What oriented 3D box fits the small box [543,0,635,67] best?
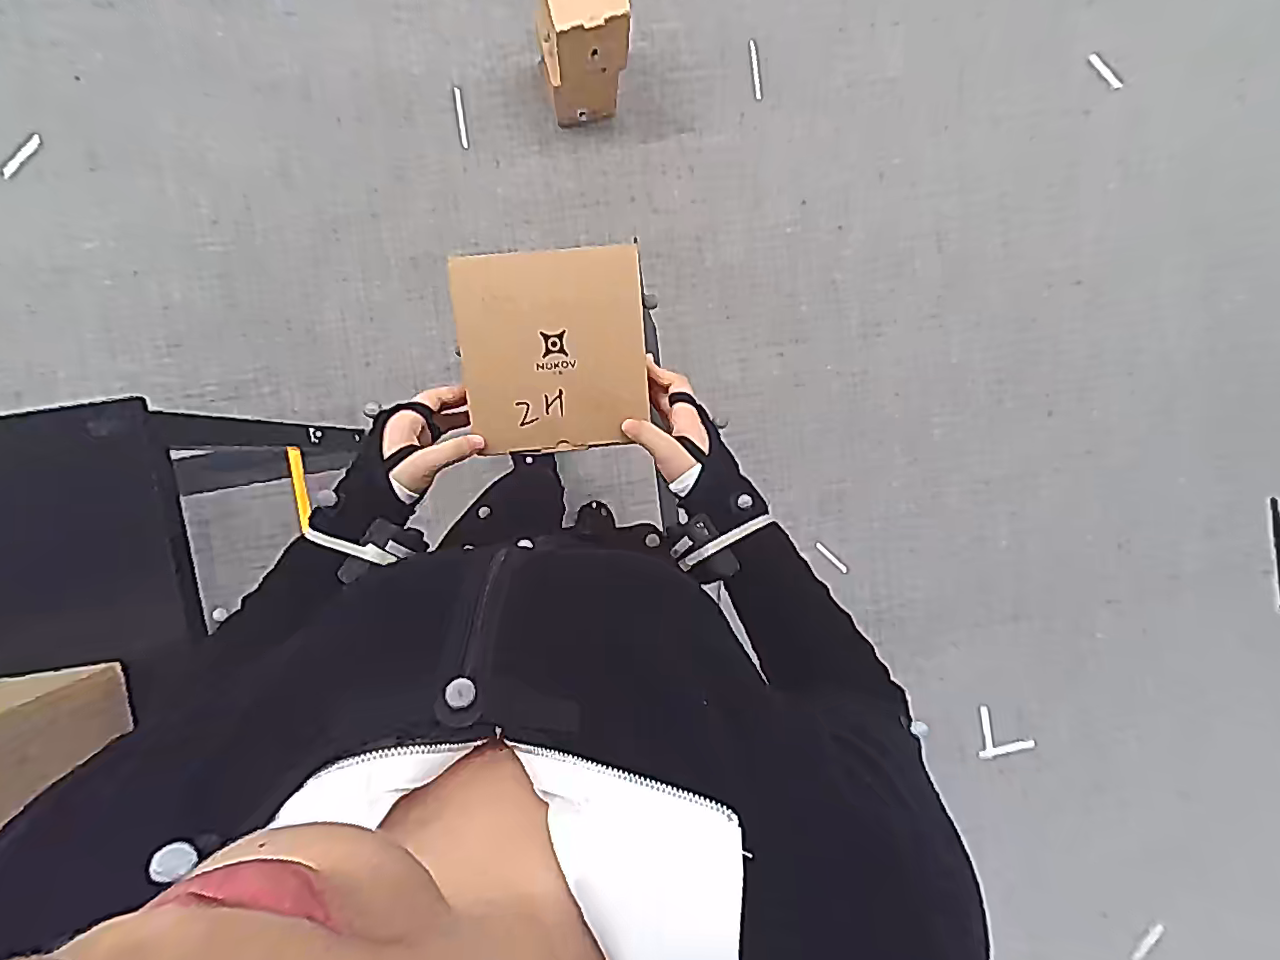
[{"bbox_3d":[-0.109,-0.994,1.109,0.168,0.176,0.179,-16,94,-3],"label":"small box"}]

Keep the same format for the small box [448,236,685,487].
[{"bbox_3d":[-0.056,-0.102,0.480,0.168,0.176,0.179,-5,104,-2],"label":"small box"}]

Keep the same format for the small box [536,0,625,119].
[{"bbox_3d":[-0.139,-1.000,1.272,0.168,0.176,0.179,-15,95,-3],"label":"small box"}]
